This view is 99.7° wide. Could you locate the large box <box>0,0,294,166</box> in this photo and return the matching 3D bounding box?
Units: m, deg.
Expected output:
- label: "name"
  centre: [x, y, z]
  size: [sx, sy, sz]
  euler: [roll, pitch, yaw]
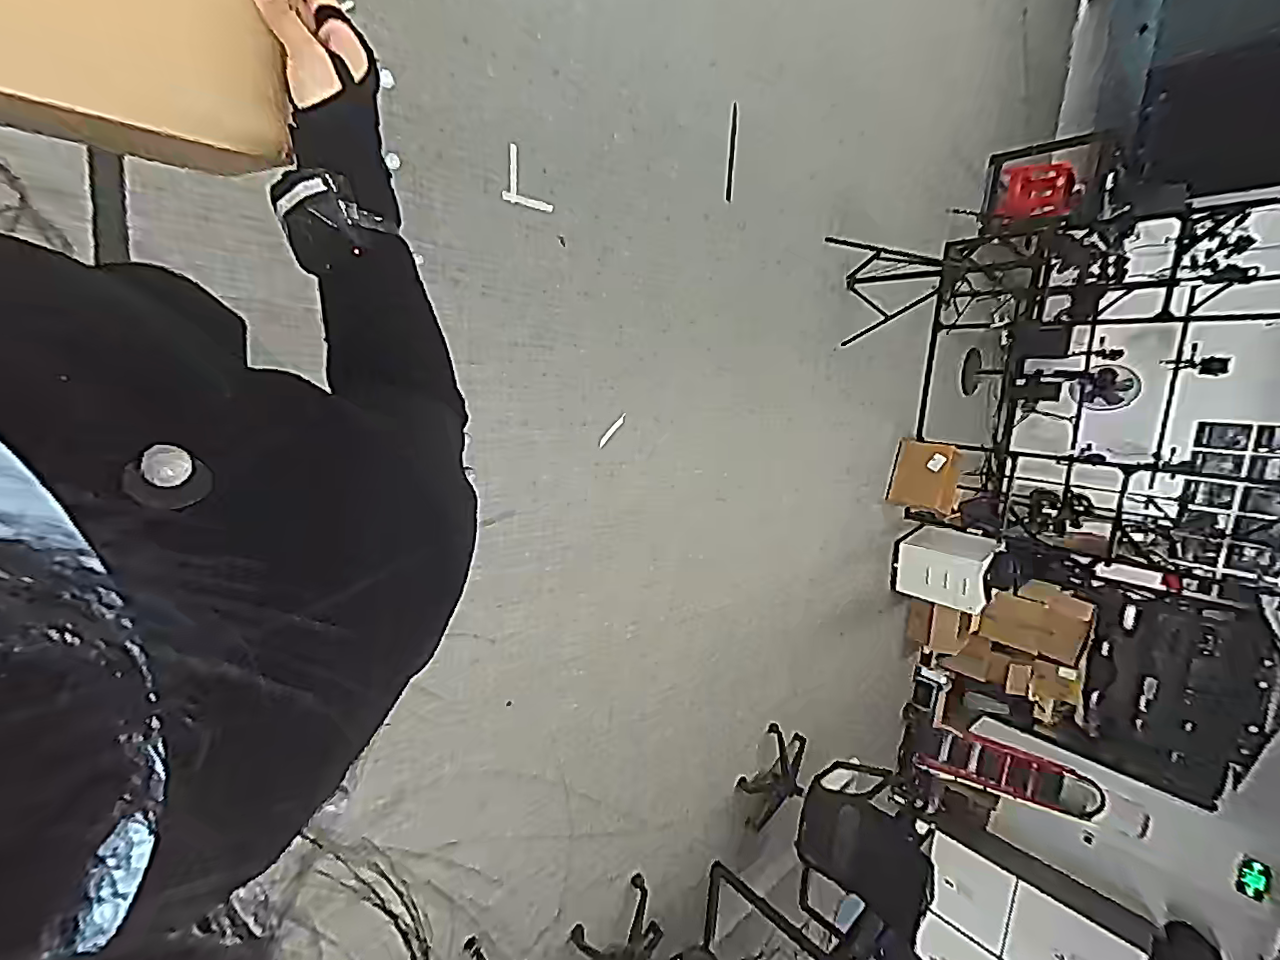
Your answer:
- label: "large box"
  centre: [-0.512, -0.440, 0.373]
  size: [0.408, 0.320, 0.320]
  euler: [-9, 115, -43]
